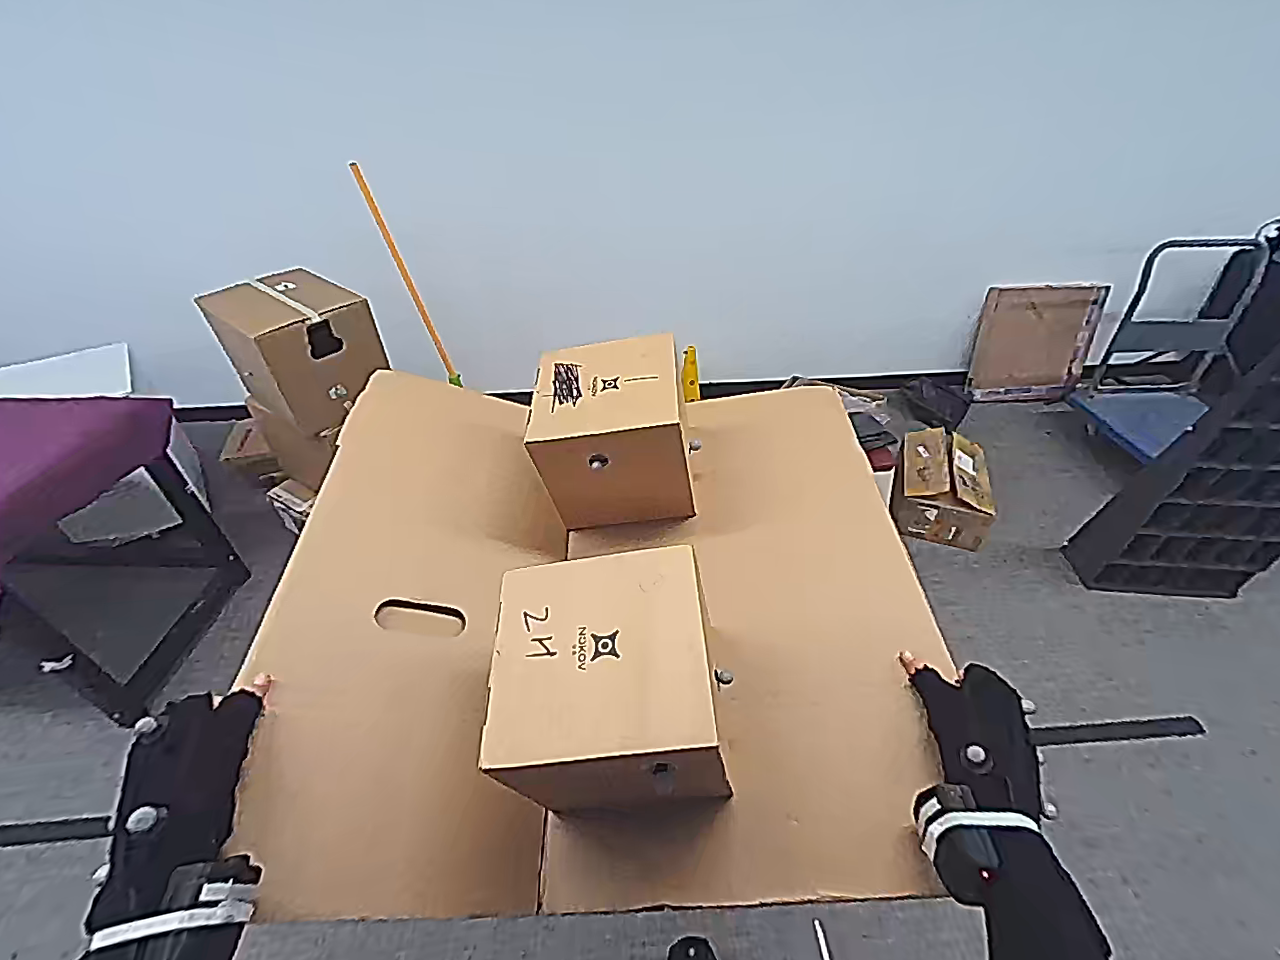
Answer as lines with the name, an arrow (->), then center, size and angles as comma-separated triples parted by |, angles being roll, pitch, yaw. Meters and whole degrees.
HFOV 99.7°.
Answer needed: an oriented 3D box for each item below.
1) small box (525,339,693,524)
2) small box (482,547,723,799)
small box -> -0.030, -0.056, 0.708 | 0.179, 0.176, 0.168 | -6, 49, 8
small box -> -0.020, 0.184, 0.502 | 0.179, 0.176, 0.168 | -9, 49, 8
